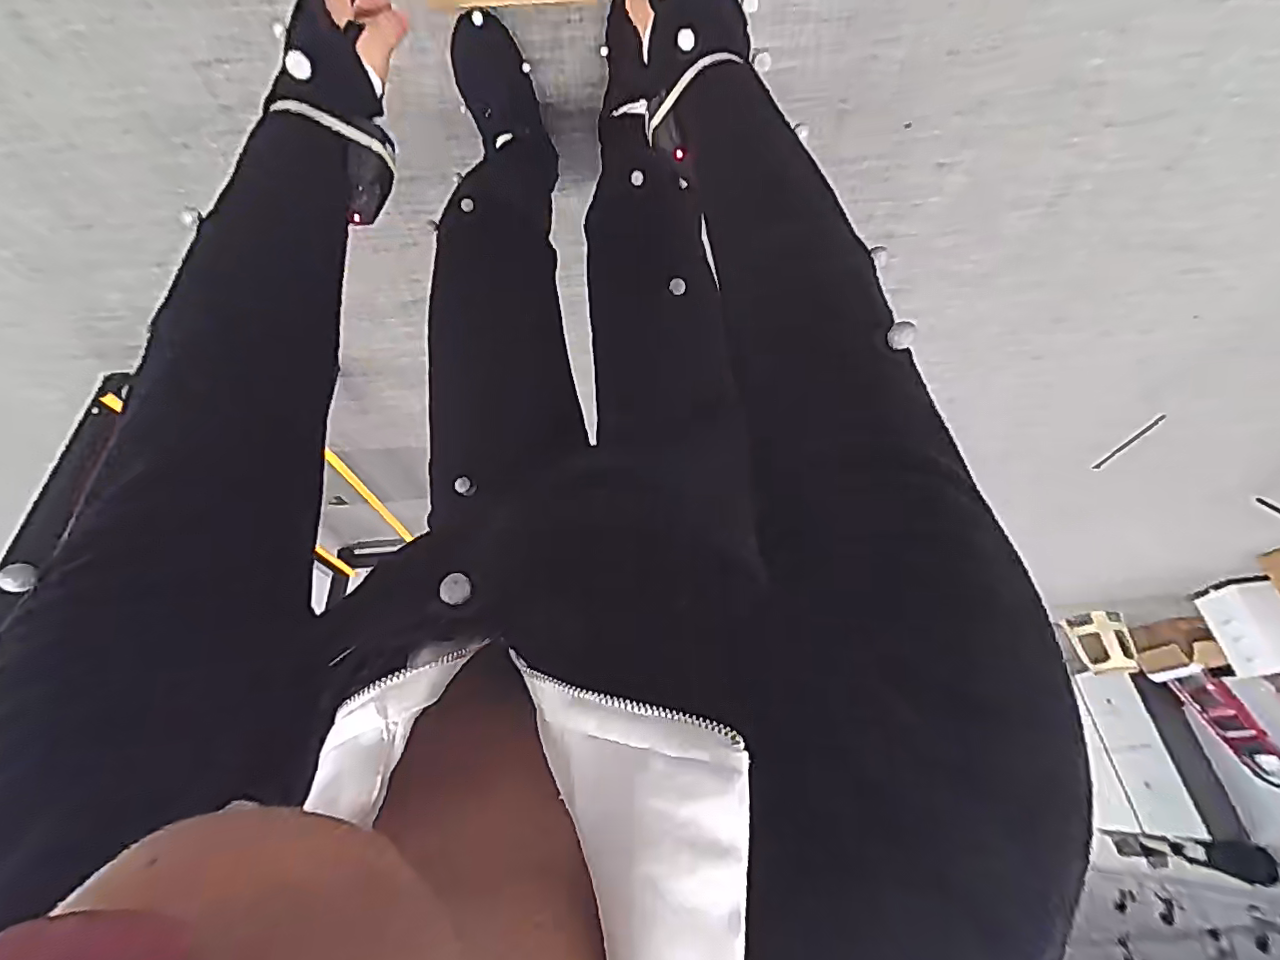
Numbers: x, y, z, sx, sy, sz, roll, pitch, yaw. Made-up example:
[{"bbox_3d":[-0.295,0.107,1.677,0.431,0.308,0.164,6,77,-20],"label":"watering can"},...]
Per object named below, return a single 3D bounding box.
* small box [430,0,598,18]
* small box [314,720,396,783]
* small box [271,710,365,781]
[{"bbox_3d":[-0.129,-0.576,0.504,0.168,0.176,0.179,-3,151,-1],"label":"small box"},{"bbox_3d":[-0.914,0.880,1.751,0.168,0.176,0.179,-5,149,1],"label":"small box"},{"bbox_3d":[-0.920,0.770,1.566,0.179,0.176,0.168,-4,150,-2],"label":"small box"}]
